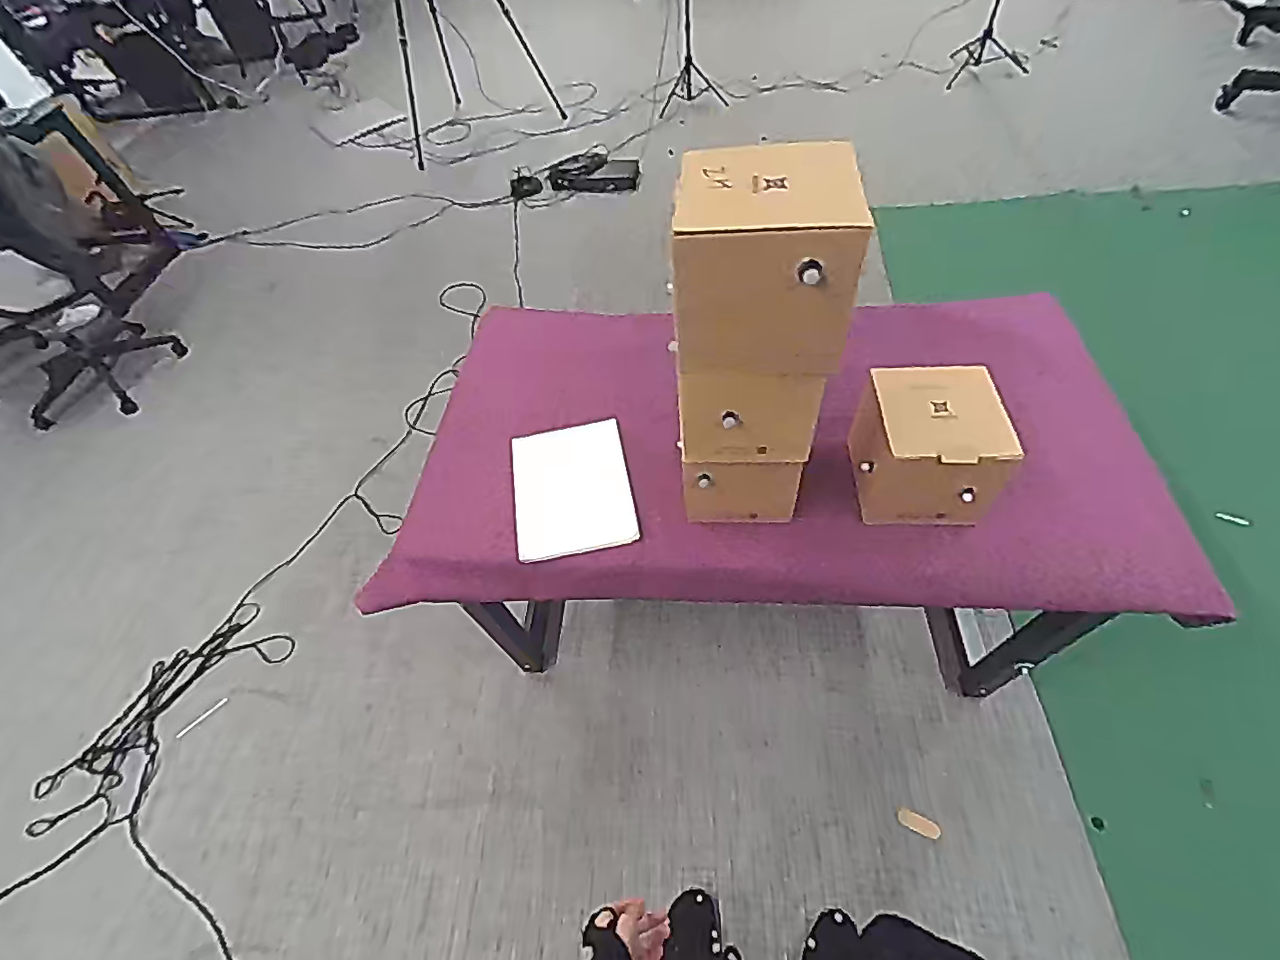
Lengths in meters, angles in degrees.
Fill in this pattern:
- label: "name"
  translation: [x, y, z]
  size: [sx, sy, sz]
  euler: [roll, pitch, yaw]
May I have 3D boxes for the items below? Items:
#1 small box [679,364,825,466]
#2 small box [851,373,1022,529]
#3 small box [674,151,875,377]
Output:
- label: "small box"
  translation: [0.143, -0.132, 0.719]
  size: [0.168, 0.176, 0.179]
  euler: [0, 53, 8]
- label: "small box"
  translation: [0.429, -0.040, 0.818]
  size: [0.168, 0.176, 0.179]
  euler: [1, 53, 7]
- label: "small box"
  translation: [0.134, -0.226, 0.583]
  size: [0.179, 0.176, 0.168]
  euler: [2, 53, 10]
